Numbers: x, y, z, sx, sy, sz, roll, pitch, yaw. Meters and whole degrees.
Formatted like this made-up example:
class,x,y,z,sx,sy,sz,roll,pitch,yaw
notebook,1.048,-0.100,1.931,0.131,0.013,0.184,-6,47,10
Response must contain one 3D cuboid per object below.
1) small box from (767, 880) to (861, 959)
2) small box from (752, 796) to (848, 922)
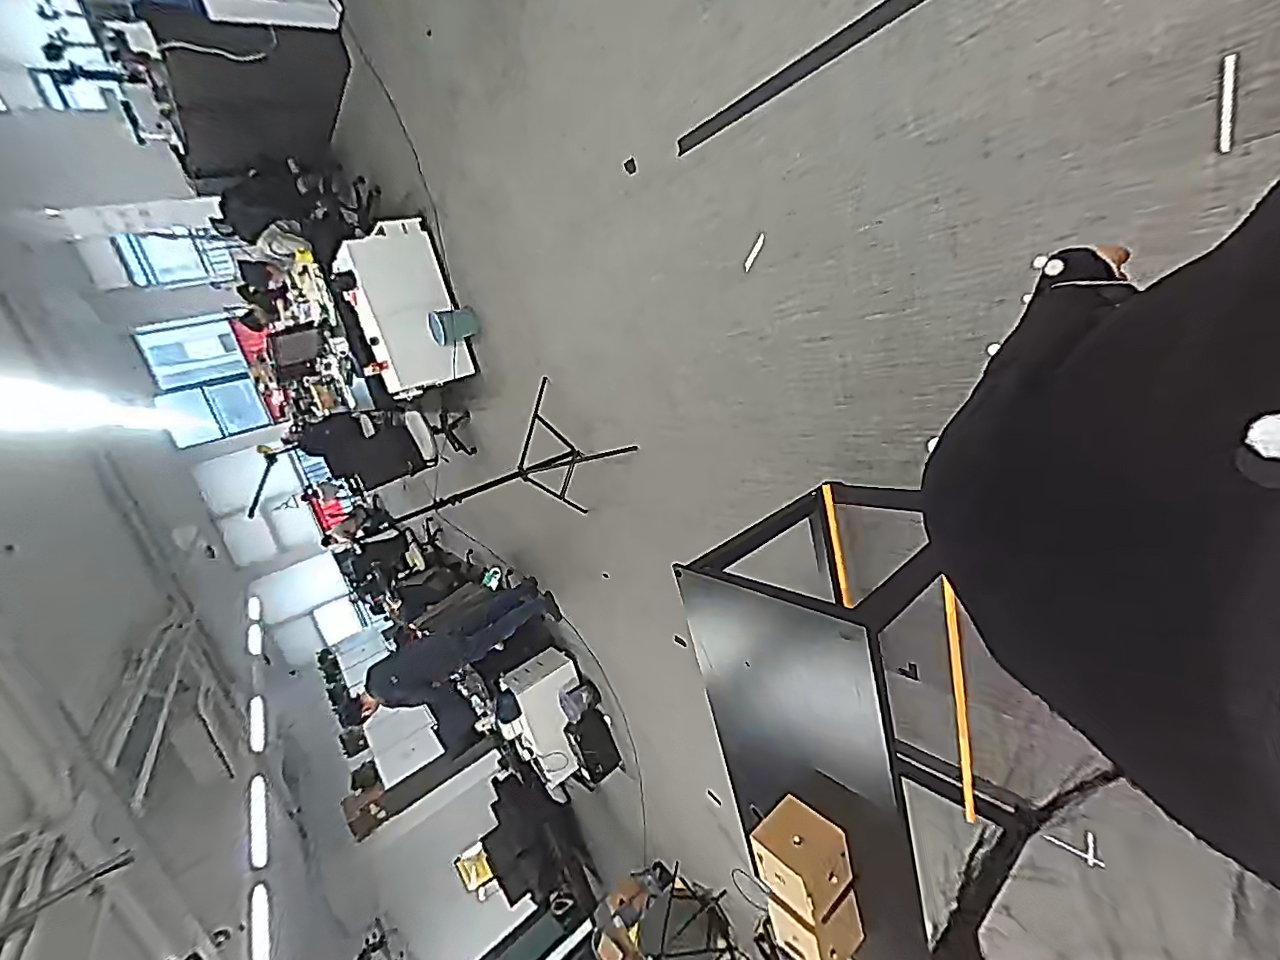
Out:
class,x,y,z,sx,sy,sz,roll,pitch,yaw
small box,0.476,1.174,1.467,0.168,0.176,0.179,4,113,55
small box,0.424,0.973,1.410,0.179,0.176,0.168,8,118,54
